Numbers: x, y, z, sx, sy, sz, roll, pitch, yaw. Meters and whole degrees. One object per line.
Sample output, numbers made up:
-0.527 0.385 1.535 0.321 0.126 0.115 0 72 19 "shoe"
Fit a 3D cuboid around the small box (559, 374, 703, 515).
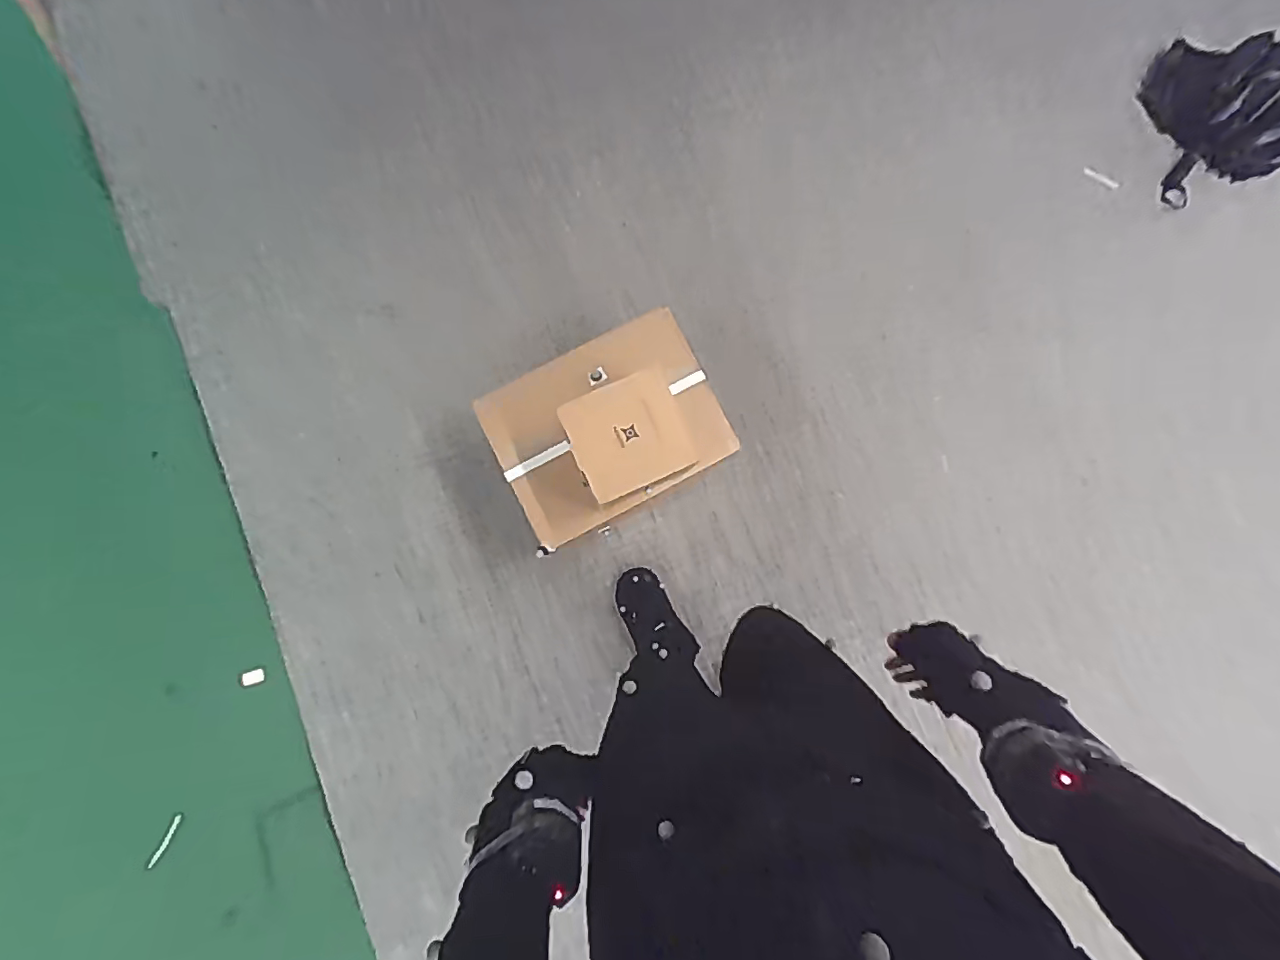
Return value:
-0.016 -0.048 0.895 0.179 0.176 0.168 -25 86 -5 "small box"
